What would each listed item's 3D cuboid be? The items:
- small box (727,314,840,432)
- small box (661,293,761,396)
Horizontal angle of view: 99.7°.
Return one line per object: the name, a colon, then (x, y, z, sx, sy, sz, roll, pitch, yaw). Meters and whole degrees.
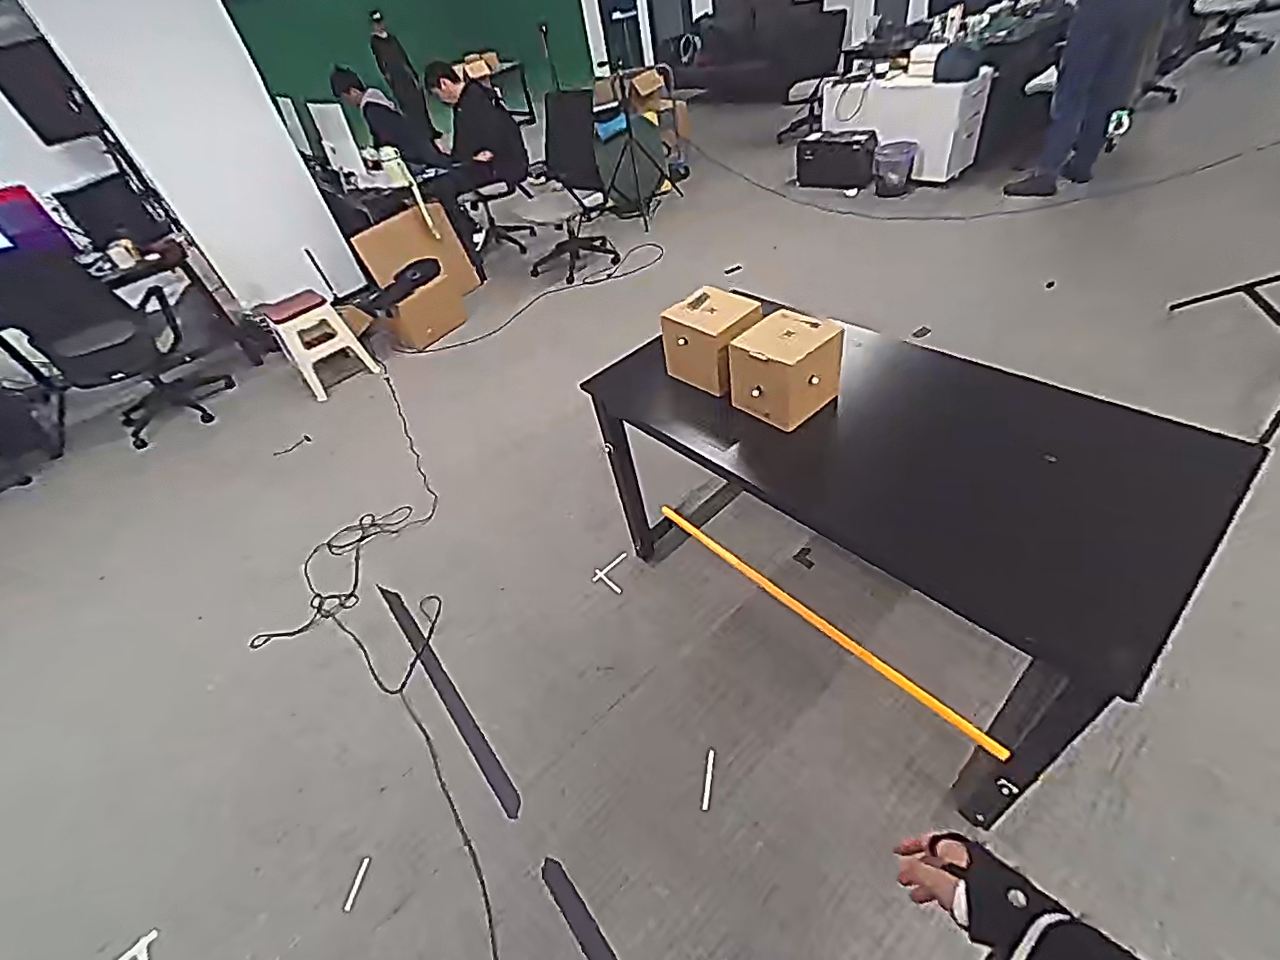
small box: (0.315, -0.233, 1.186, 0.179, 0.176, 0.168, -36, 48, -22)
small box: (0.175, -0.329, 1.318, 0.168, 0.176, 0.179, -38, 50, -24)
